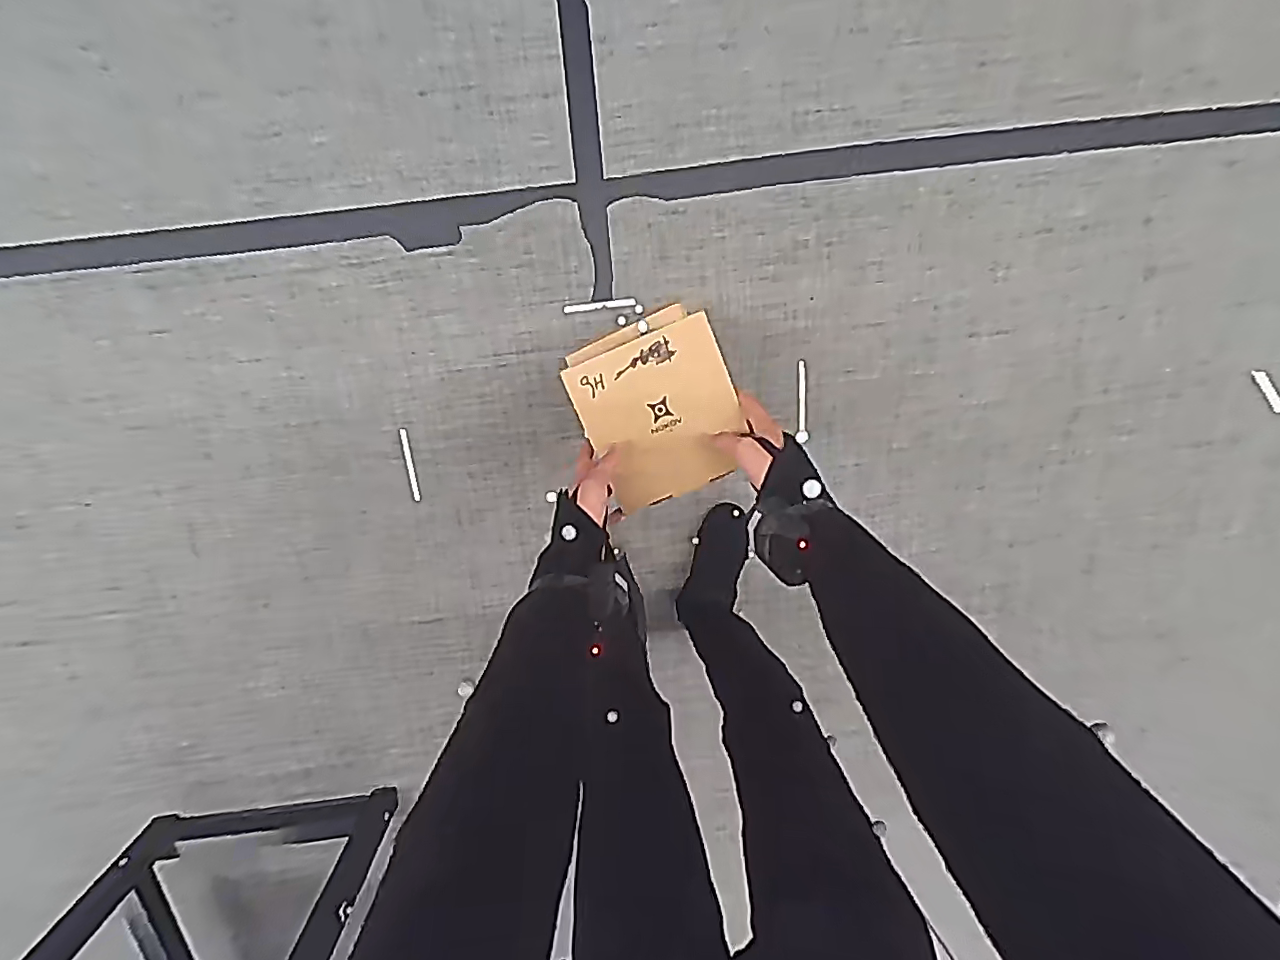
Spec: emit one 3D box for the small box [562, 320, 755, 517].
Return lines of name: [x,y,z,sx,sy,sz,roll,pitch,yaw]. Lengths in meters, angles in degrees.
small box: [0.021,-0.082,0.662,0.168,0.176,0.179,-22,103,3]
